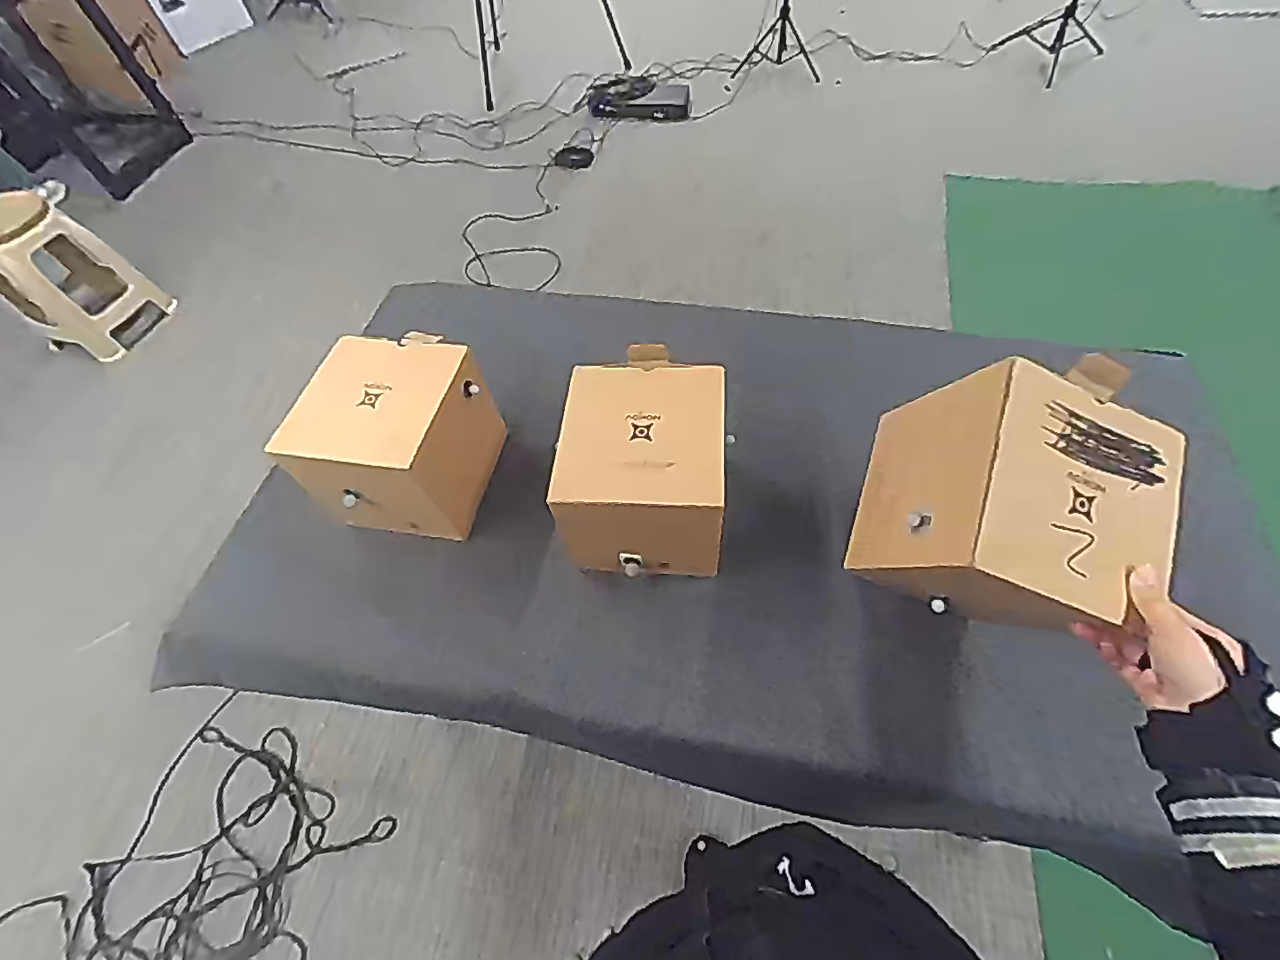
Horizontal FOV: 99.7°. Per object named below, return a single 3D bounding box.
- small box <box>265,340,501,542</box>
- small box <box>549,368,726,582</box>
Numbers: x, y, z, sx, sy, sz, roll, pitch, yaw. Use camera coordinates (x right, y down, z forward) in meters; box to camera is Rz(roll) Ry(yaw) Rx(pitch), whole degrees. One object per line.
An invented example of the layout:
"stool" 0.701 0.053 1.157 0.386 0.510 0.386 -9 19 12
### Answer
"small box" -0.284 -0.042 0.650 0.168 0.176 0.179 6 57 9
"small box" 0.008 -0.003 0.601 0.168 0.176 0.179 1 57 7
